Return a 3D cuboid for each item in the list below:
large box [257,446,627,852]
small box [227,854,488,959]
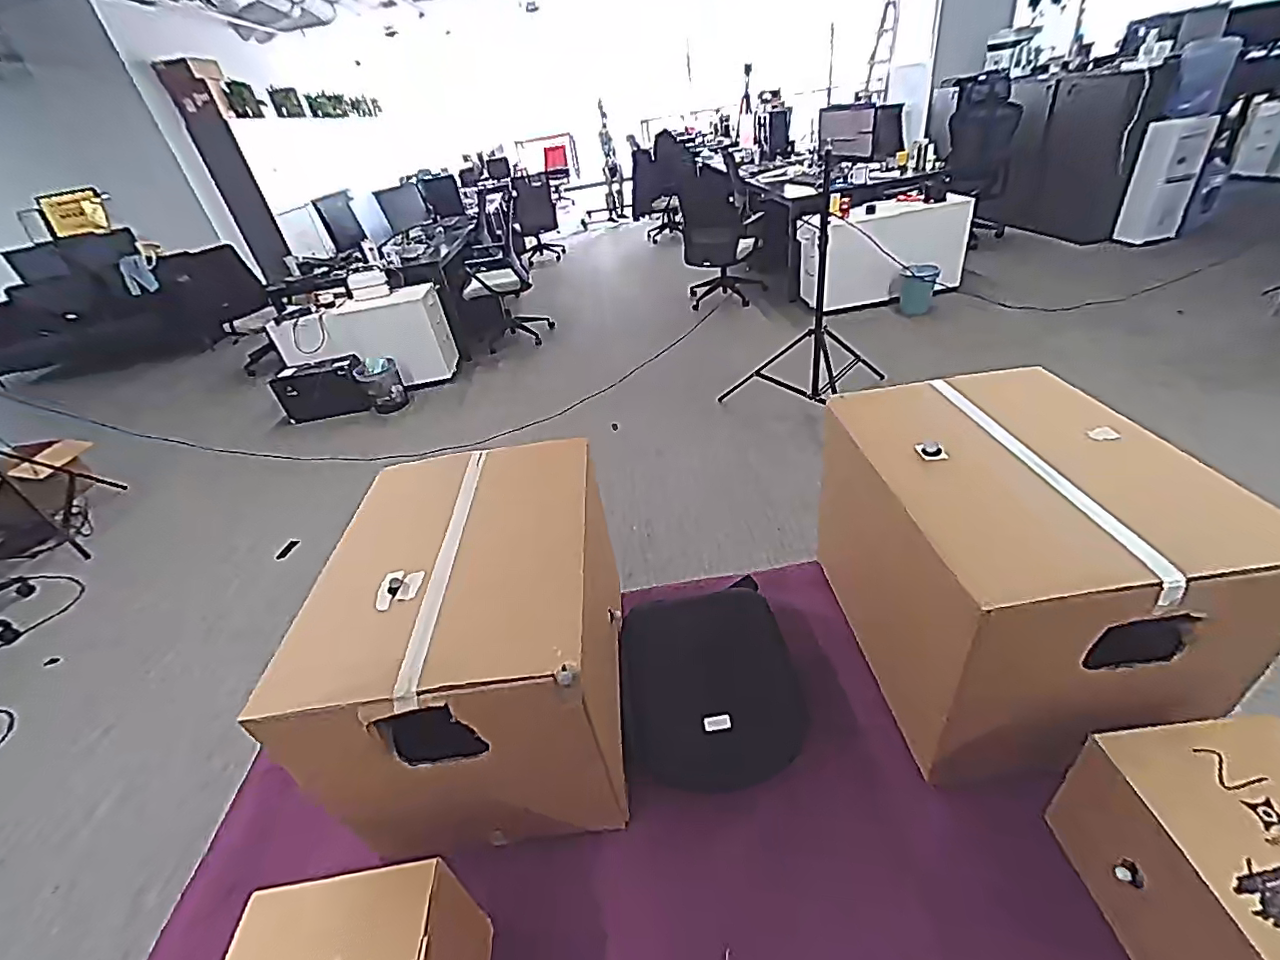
[{"bbox_3d":[-0.199,0.206,0.734,0.320,0.320,0.408,-10,37,2],"label":"large box"},{"bbox_3d":[-0.254,0.477,0.484,0.179,0.176,0.168,-10,33,-1],"label":"small box"}]
